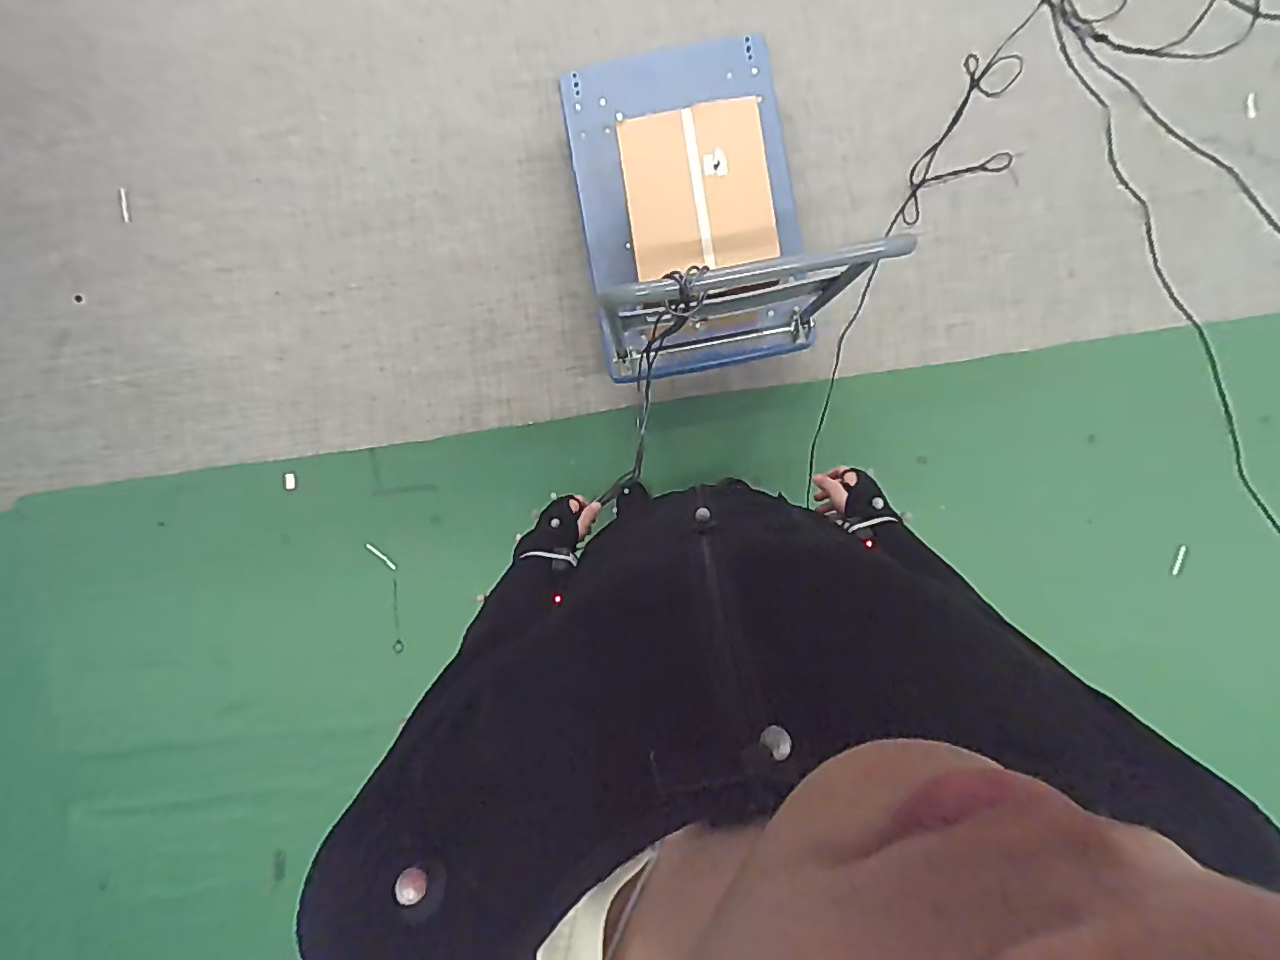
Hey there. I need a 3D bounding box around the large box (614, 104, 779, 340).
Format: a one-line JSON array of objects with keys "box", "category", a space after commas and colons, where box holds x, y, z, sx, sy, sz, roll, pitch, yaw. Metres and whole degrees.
[{"box": [0.131, -0.605, 1.337, 0.320, 0.320, 0.408, -8, 88, 2], "category": "large box"}]
